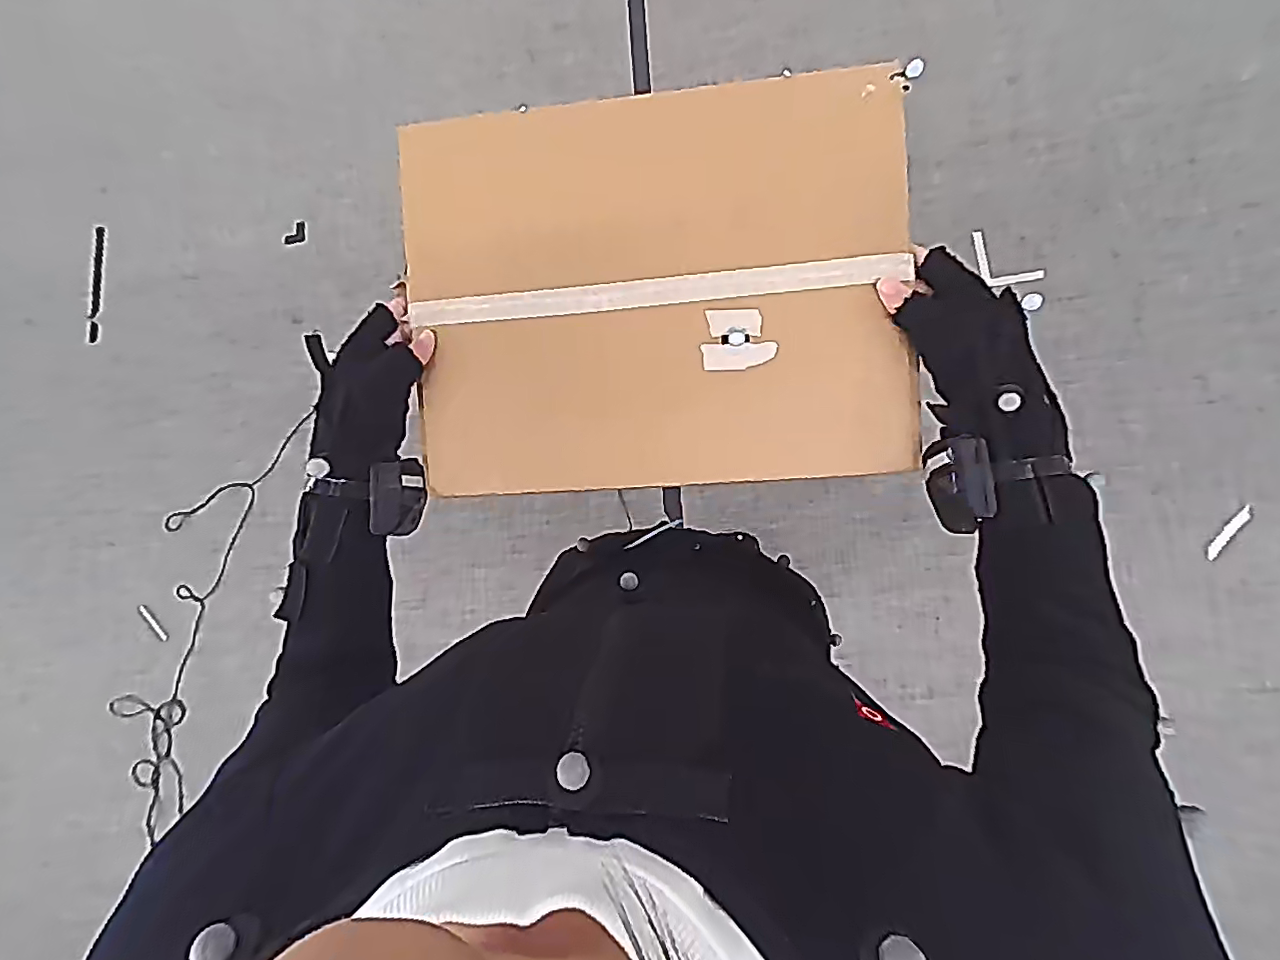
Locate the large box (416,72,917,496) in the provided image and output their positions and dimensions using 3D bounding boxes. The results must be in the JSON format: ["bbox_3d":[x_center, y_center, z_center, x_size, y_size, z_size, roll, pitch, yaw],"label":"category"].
[{"bbox_3d":[0.027,-0.159,0.597,0.408,0.320,0.320,-4,92,6],"label":"large box"}]
